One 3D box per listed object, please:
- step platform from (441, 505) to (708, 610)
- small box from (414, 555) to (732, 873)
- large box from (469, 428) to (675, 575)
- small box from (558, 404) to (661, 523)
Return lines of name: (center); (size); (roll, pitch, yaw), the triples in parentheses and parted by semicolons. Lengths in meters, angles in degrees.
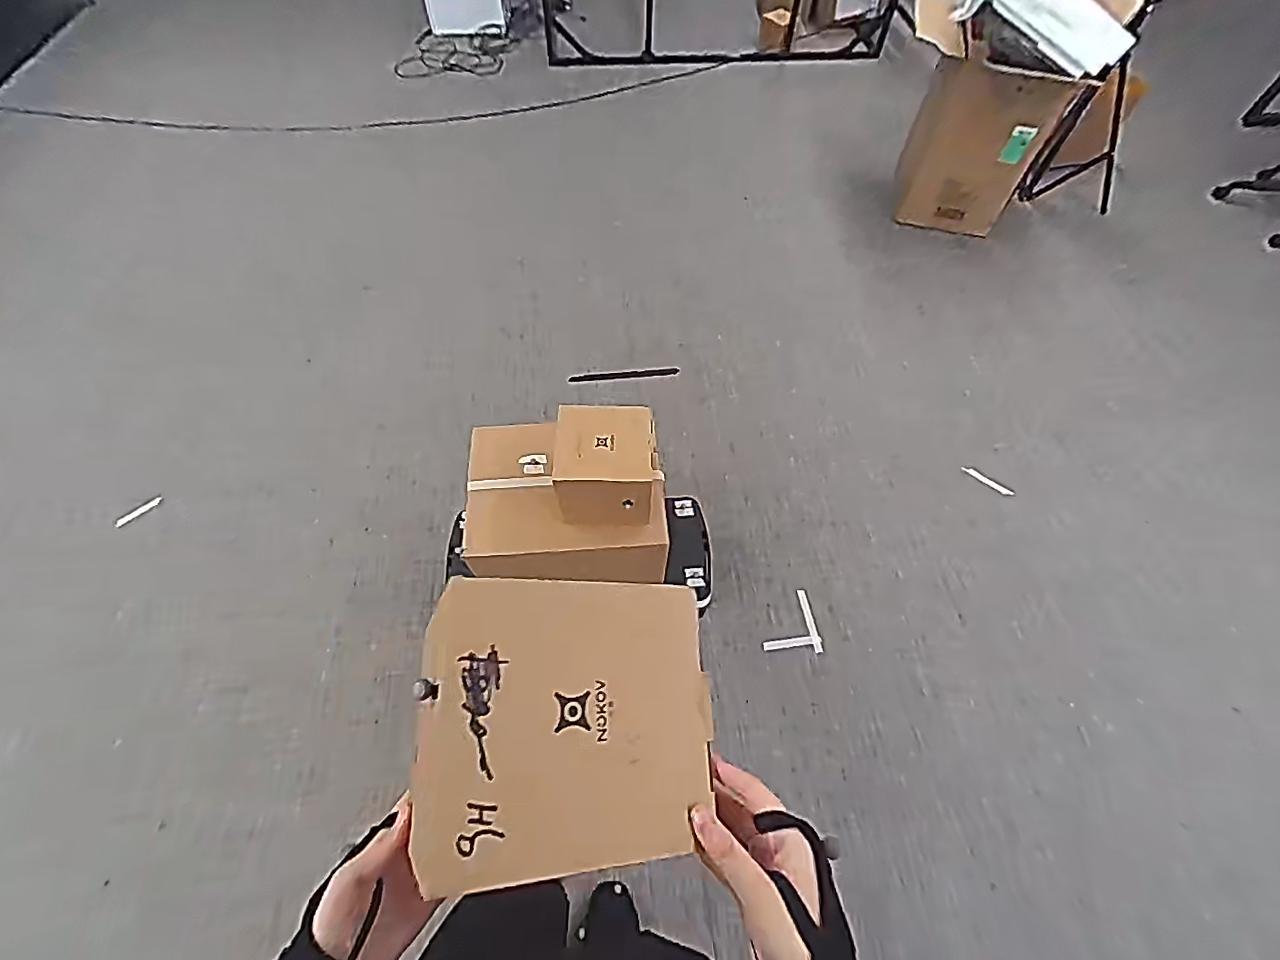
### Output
step platform: (-0.161, 0.230, 1.436); (0.684, 0.204, 0.286); (1, 58, 0)
small box: (-0.057, 0.164, 0.397); (0.179, 0.176, 0.168); (9, 62, -23)
large box: (-0.142, 0.090, 1.243); (0.408, 0.320, 0.320); (-4, 58, -2)
small box: (-0.053, -0.027, 1.028); (0.179, 0.176, 0.168); (1, 59, 0)
